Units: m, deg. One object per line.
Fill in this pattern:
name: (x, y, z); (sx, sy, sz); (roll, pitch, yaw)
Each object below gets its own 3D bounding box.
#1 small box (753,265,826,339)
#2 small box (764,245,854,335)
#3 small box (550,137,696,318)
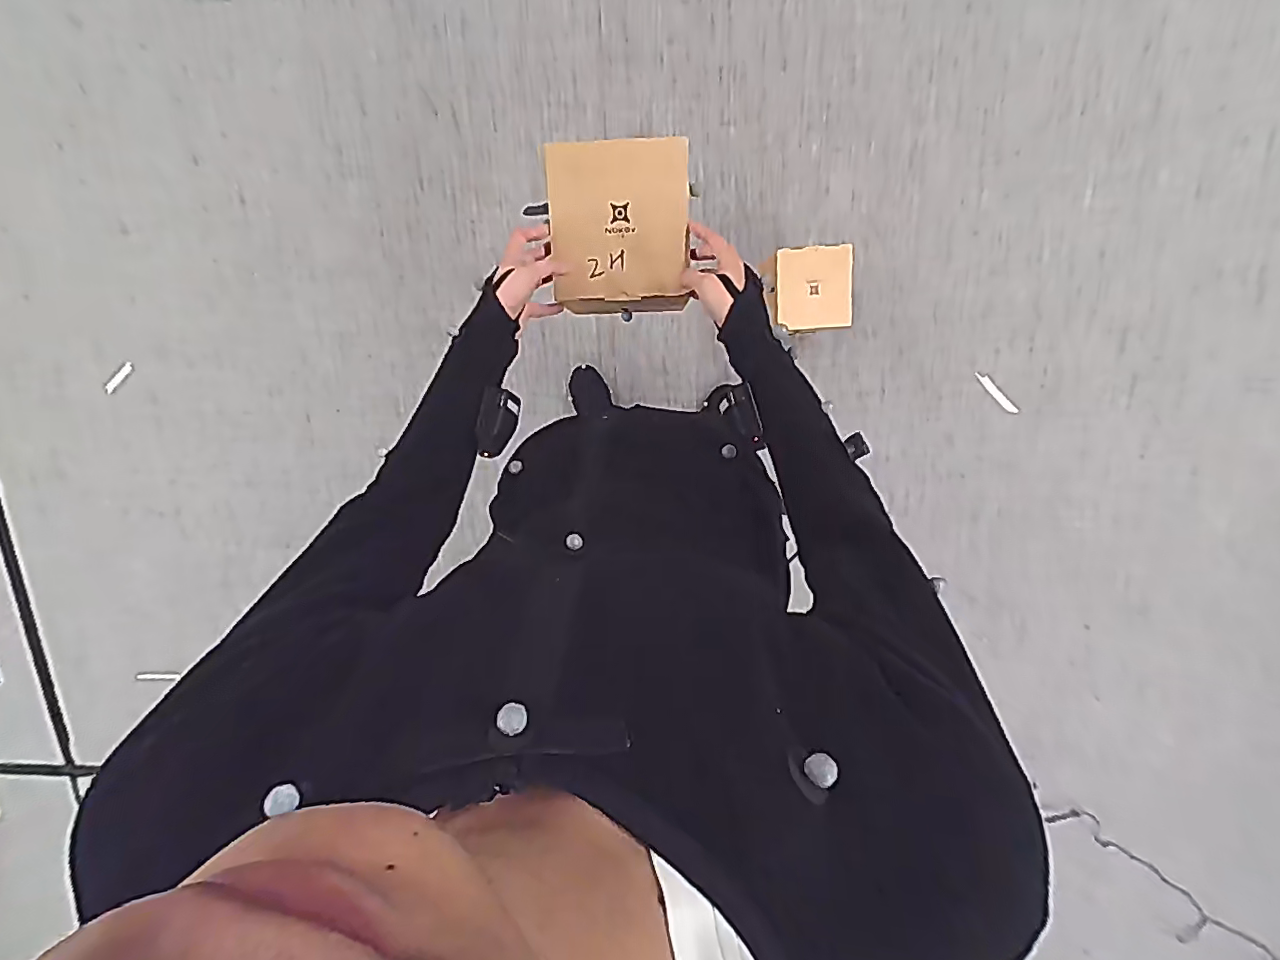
small box: (0.392, -0.467, 1.421); (0.168, 0.176, 0.179); (-4, 101, 3)
small box: (0.388, -0.434, 1.262); (0.168, 0.176, 0.179); (-4, 101, 3)
small box: (-0.017, -0.310, 0.696); (0.168, 0.176, 0.179); (-2, 102, 2)
